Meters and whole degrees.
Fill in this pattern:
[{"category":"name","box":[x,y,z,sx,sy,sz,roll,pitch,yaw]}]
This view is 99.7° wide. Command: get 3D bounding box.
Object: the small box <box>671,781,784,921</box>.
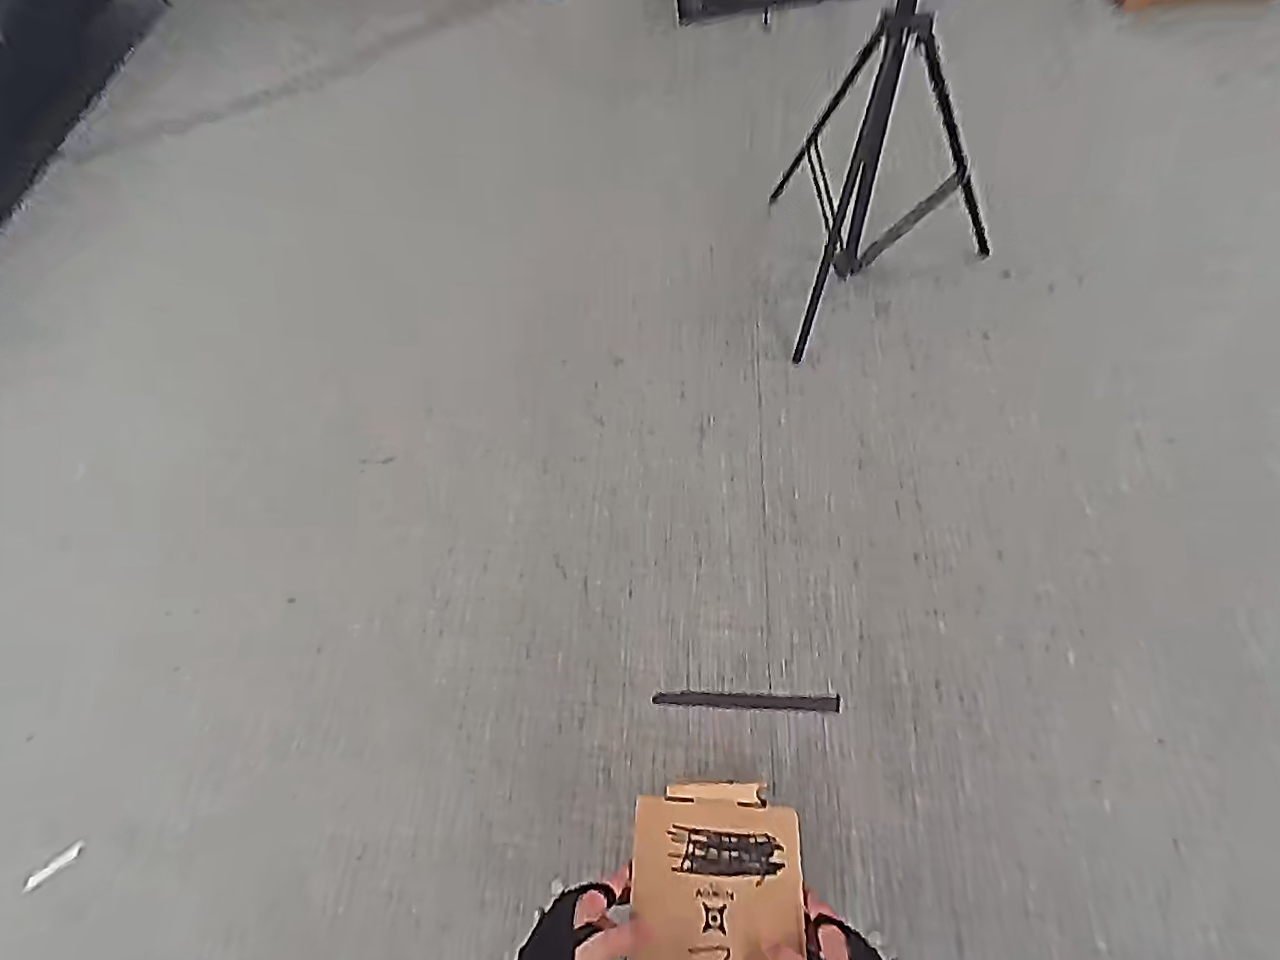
[{"category":"small box","box":[0.144,0.611,0.913,0.168,0.176,0.179,-6,64,8]}]
